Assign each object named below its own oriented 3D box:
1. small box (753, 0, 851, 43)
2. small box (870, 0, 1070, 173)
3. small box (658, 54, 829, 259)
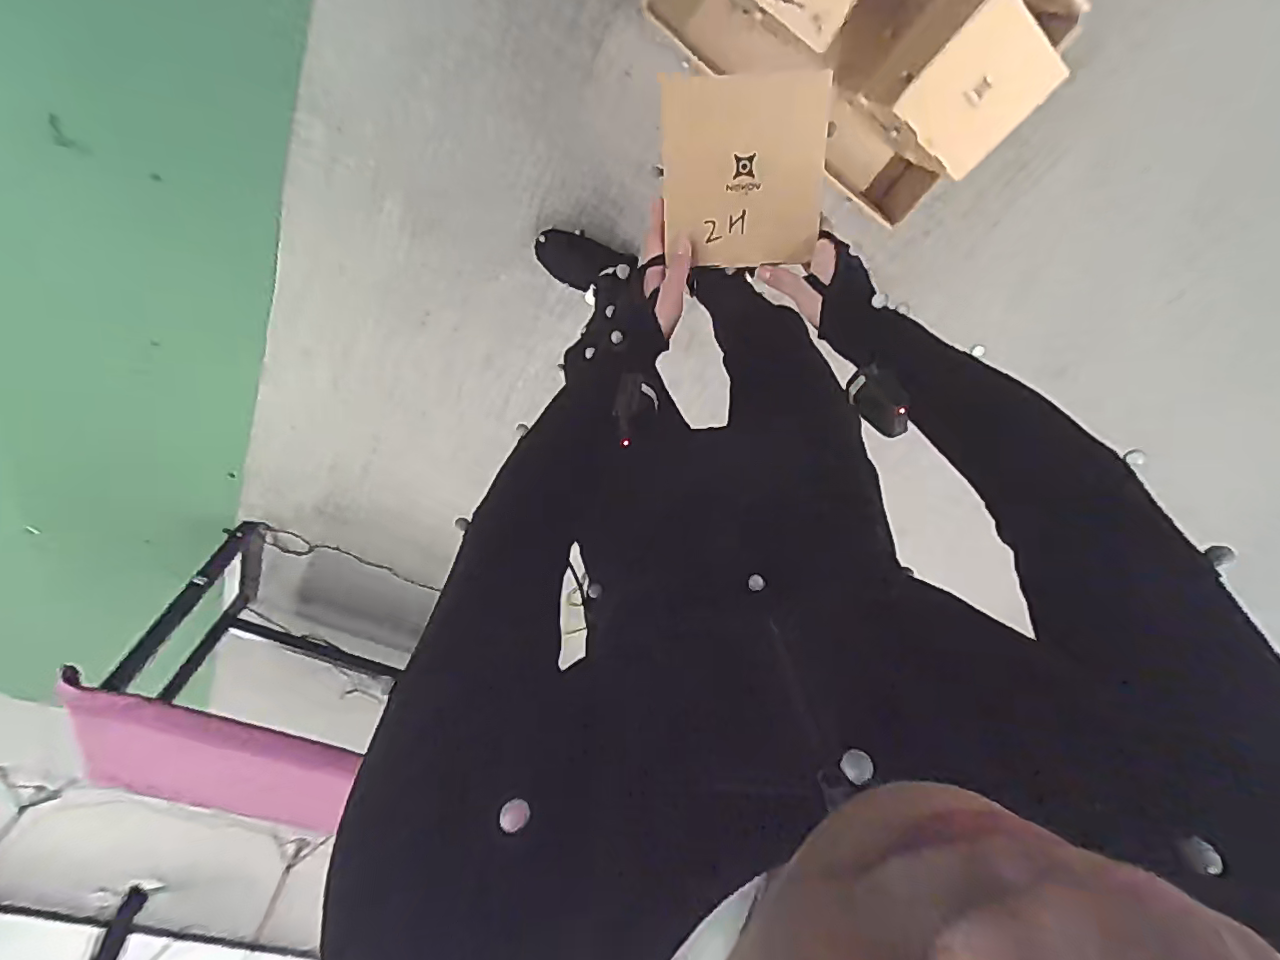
[{"bbox_3d":[0.232,-0.743,0.734,0.168,0.176,0.179,27,126,-17],"label":"small box"},{"bbox_3d":[0.489,-0.620,0.827,0.168,0.176,0.179,31,127,-22],"label":"small box"},{"bbox_3d":[0.104,-0.355,0.618,0.168,0.176,0.179,-1,117,4],"label":"small box"}]
